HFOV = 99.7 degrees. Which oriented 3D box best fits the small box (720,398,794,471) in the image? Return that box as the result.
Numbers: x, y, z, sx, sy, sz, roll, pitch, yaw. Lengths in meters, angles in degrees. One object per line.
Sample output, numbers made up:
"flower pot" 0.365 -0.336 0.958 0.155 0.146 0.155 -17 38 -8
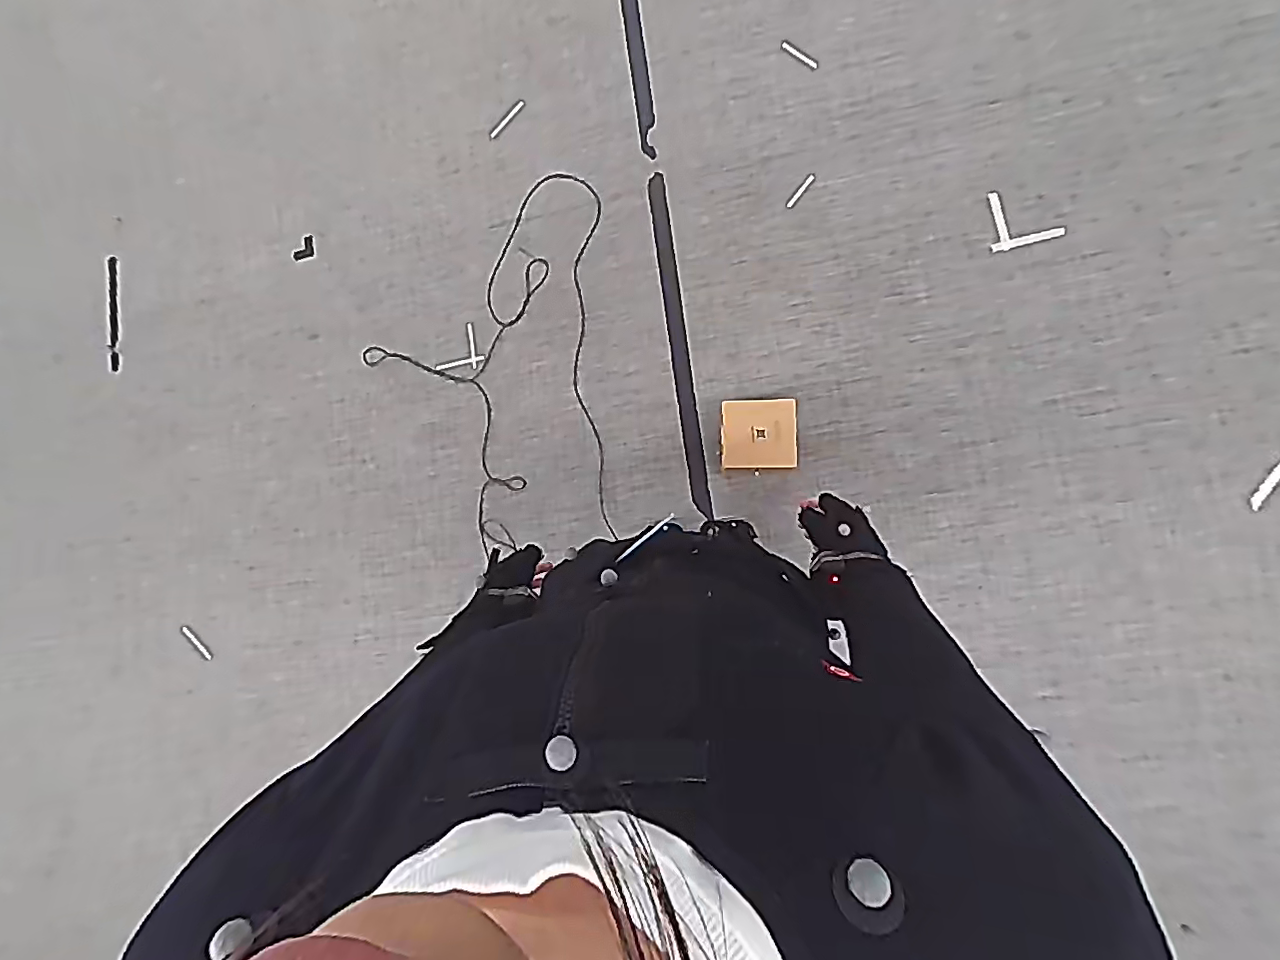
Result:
"small box" 0.296 -0.111 1.384 0.179 0.176 0.168 0 86 8
